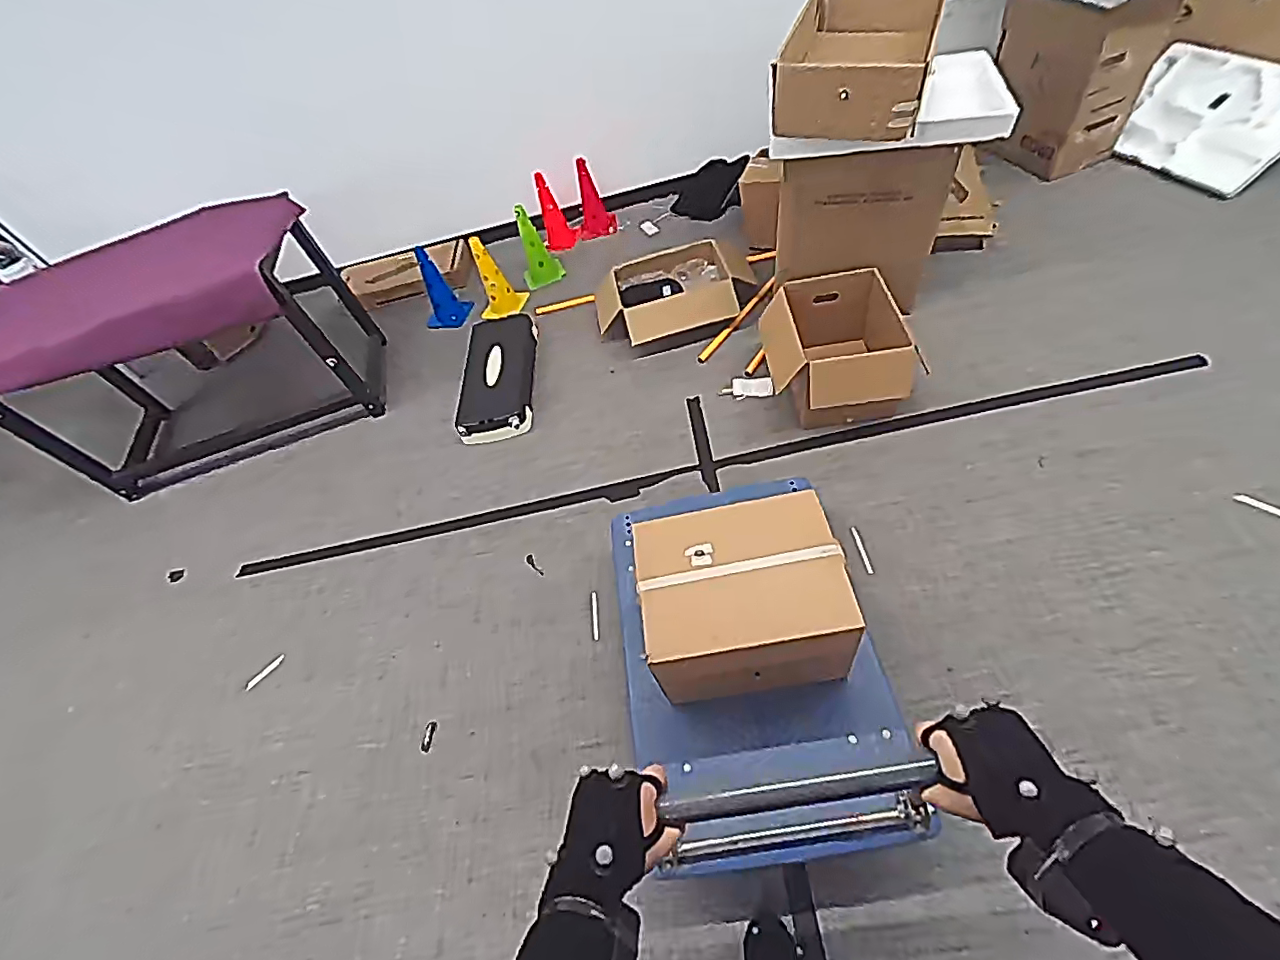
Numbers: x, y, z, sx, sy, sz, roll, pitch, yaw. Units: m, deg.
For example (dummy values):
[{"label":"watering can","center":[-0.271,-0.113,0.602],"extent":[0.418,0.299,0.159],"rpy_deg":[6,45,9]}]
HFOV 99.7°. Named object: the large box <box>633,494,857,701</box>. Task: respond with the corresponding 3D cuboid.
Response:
[{"label":"large box","center":[0.225,0.277,1.221],"extent":[0.408,0.320,0.320],"rpy_deg":[-12,52,6]}]
